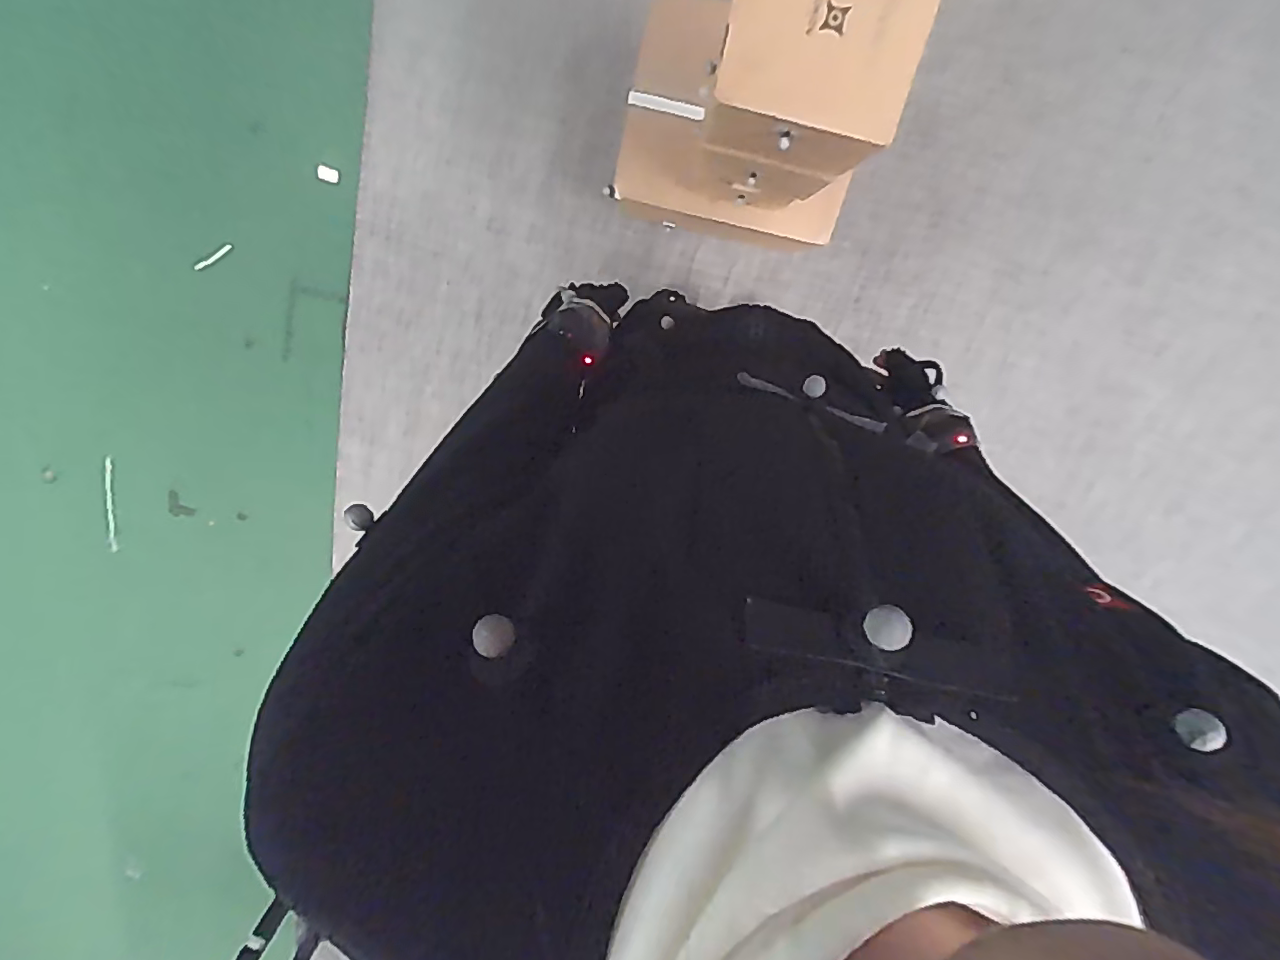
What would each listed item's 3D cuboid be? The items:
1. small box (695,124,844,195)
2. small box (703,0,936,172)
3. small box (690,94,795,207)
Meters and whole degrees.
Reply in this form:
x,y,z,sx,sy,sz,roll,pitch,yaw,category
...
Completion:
x,y,z,sx,sy,sz,roll,pitch,yaw,category
0.176,-0.482,0.704,0.179,0.176,0.168,11,111,-1,small box
0.169,-0.433,0.550,0.179,0.176,0.168,14,111,-2,small box
0.179,-0.547,0.855,0.168,0.176,0.179,12,111,0,small box
